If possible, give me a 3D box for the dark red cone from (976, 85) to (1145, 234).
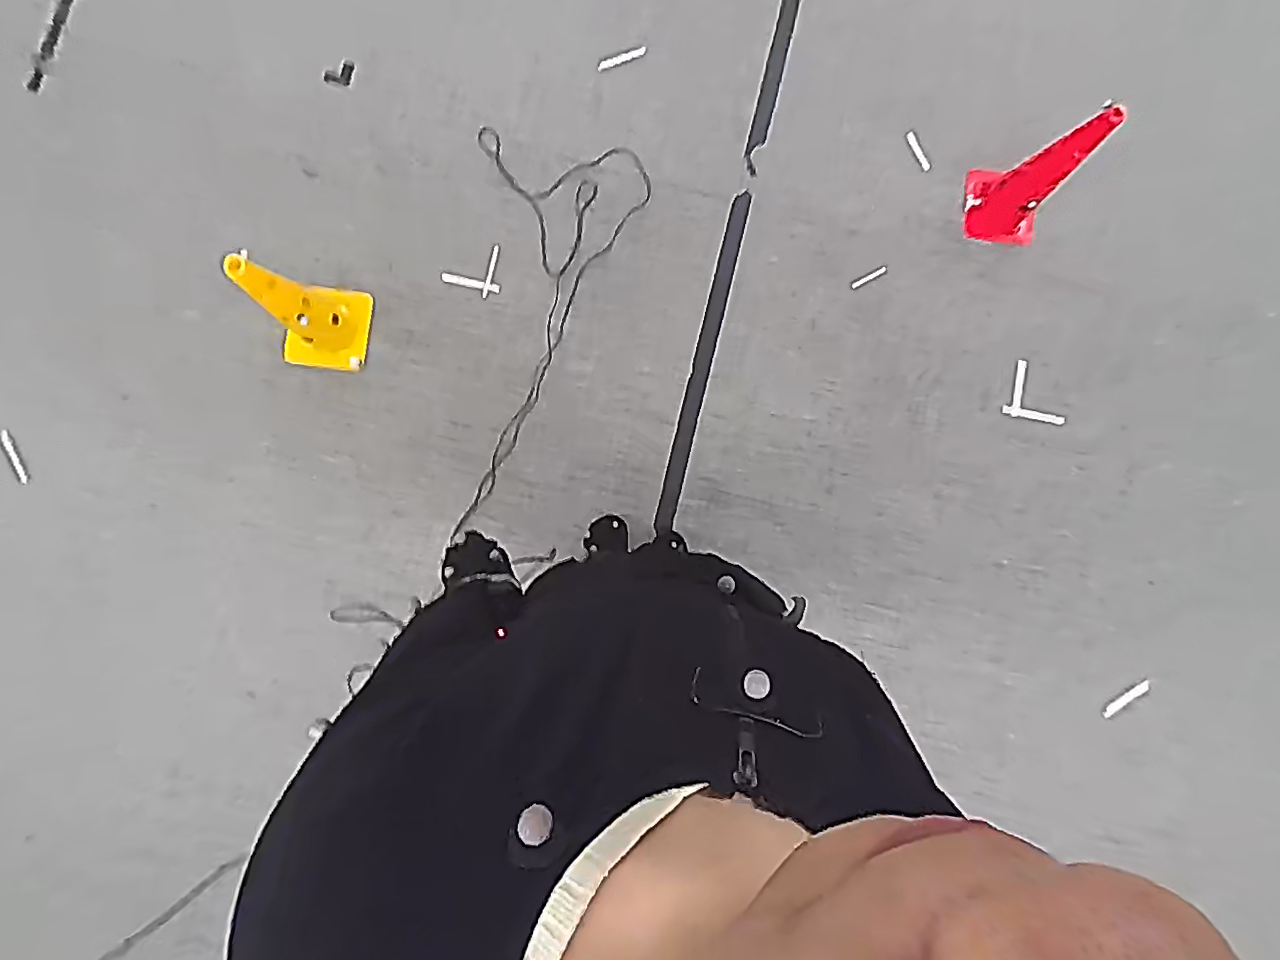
[{"bbox_3d":[1.008,-0.777,1.292,0.201,0.394,0.202,6,86,-1],"label":"dark red cone"}]
